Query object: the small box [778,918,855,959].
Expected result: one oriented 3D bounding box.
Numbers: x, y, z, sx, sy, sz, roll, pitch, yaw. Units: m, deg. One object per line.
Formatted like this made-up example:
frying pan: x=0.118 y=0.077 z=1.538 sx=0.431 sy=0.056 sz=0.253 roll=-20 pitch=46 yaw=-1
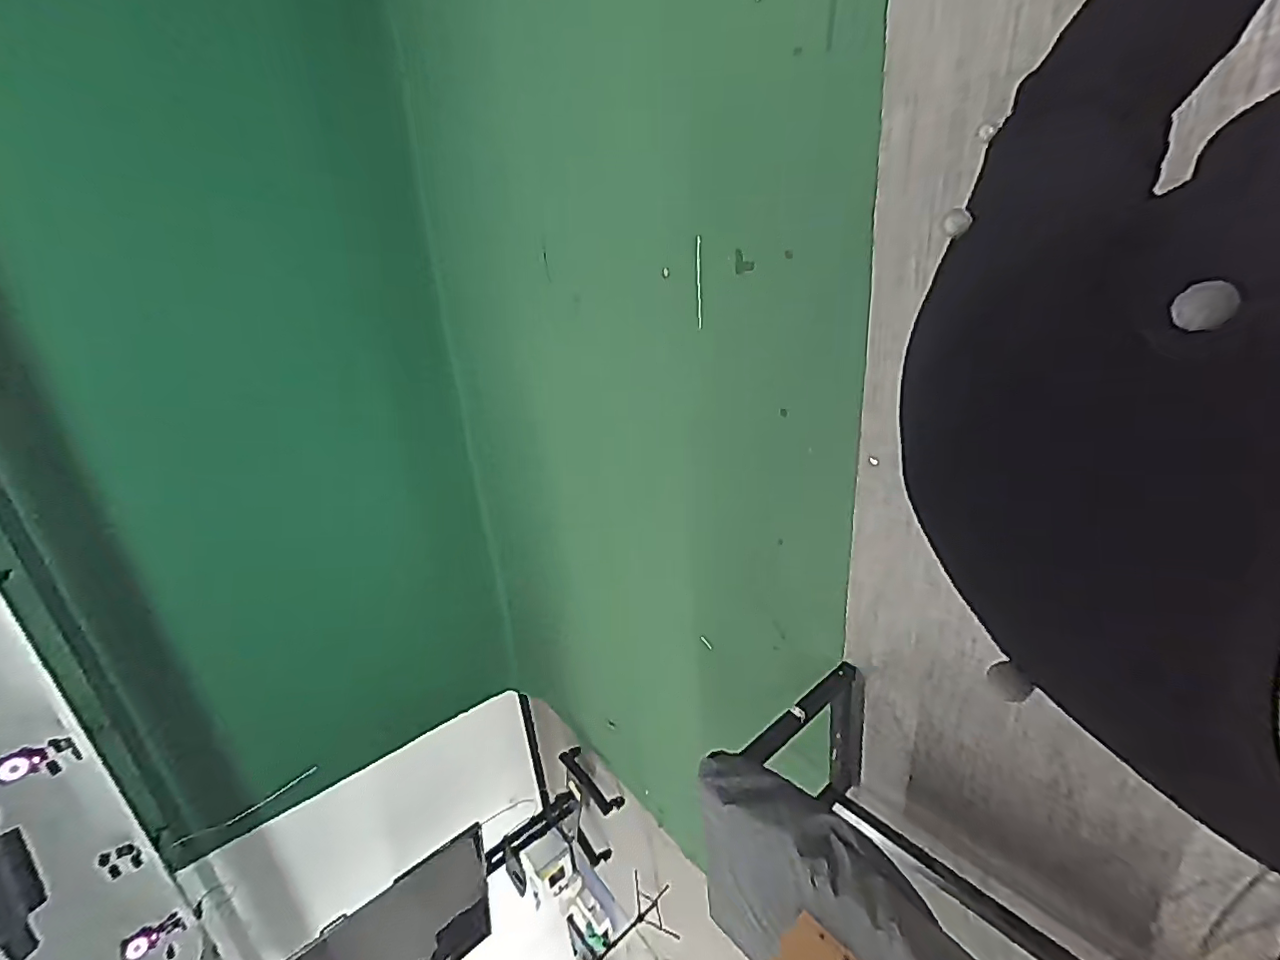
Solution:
small box: x=0.410 y=1.171 z=1.237 sx=0.168 sy=0.176 sz=0.179 roll=20 pitch=123 yaw=47
